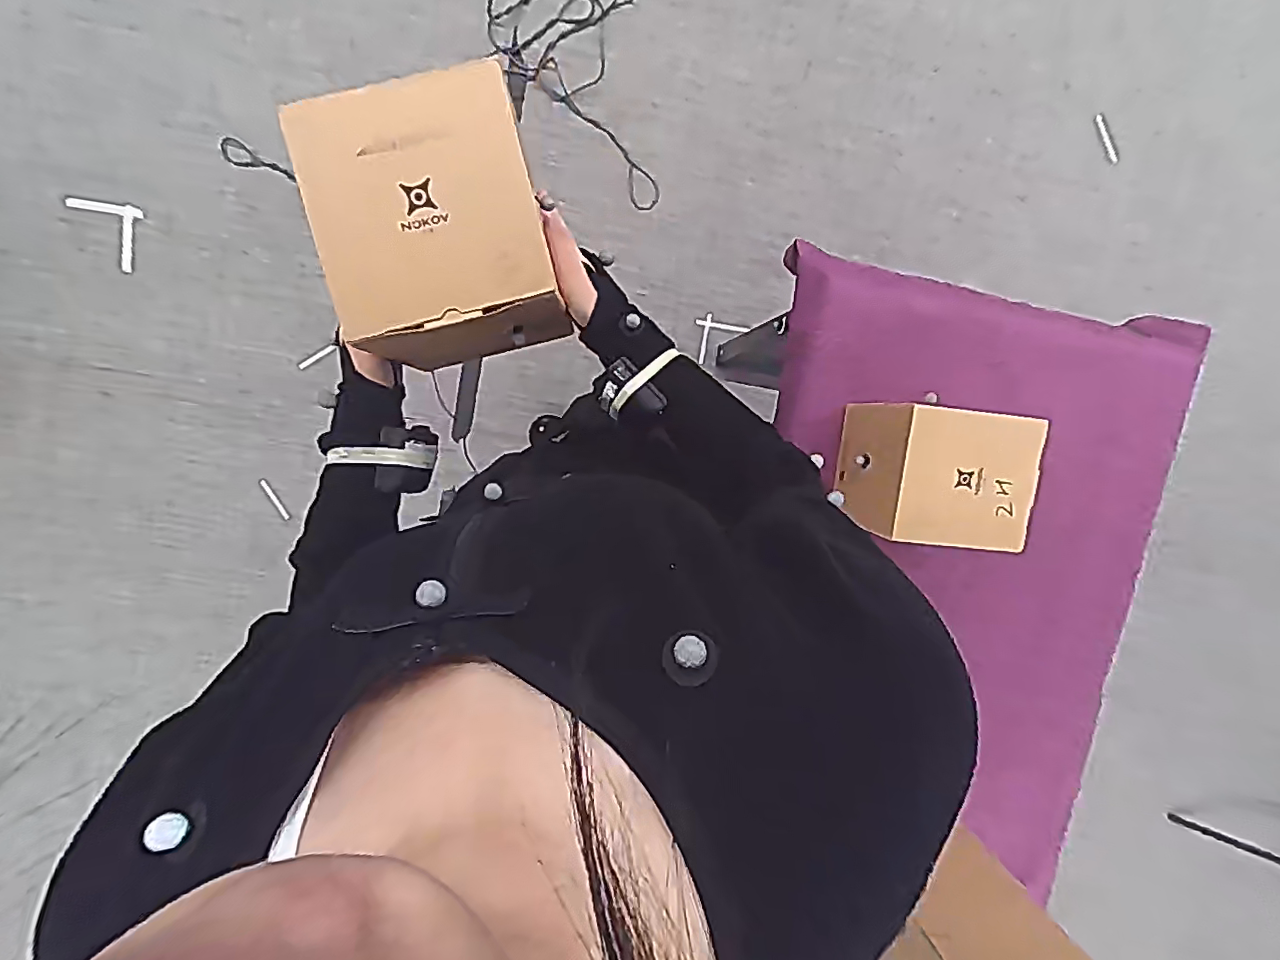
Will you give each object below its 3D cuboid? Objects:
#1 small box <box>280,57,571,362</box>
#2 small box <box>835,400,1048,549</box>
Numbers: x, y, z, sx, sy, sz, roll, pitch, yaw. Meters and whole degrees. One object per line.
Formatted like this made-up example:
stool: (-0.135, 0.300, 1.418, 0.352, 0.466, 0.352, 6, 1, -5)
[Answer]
small box: (-0.163, -0.210, 0.477, 0.168, 0.176, 0.179, -15, 94, -2)
small box: (0.387, -0.014, 0.725, 0.179, 0.176, 0.168, 6, 98, -7)
